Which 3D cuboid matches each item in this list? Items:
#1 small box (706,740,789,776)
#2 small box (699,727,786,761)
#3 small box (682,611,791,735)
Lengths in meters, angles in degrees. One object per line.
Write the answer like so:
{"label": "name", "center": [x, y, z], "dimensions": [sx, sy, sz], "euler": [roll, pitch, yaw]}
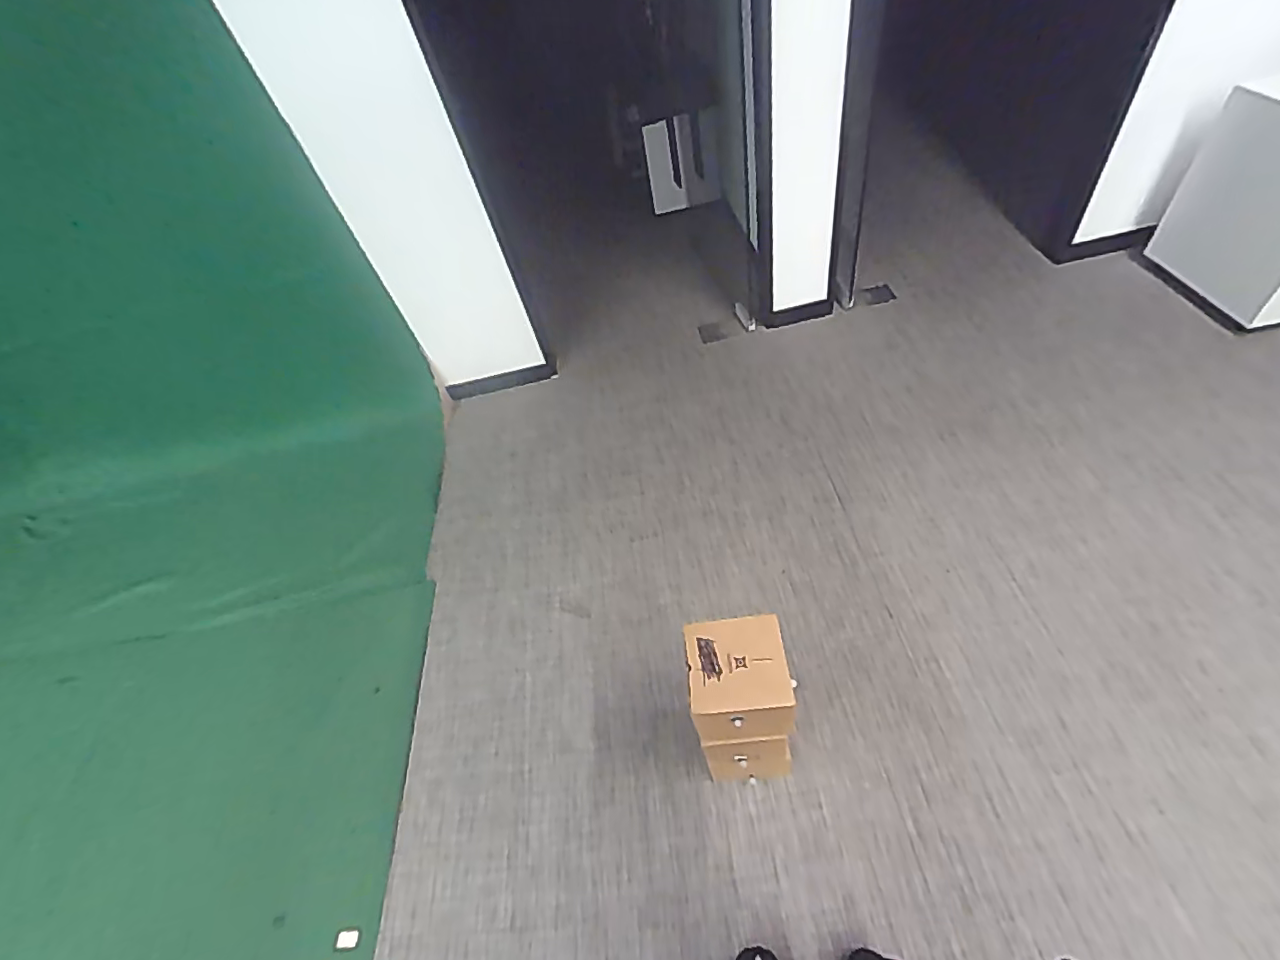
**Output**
{"label": "small box", "center": [0.241, 0.579, 1.259], "dimensions": [0.179, 0.176, 0.168], "euler": [-8, 49, 7]}
{"label": "small box", "center": [0.208, 0.472, 1.140], "dimensions": [0.168, 0.176, 0.179], "euler": [-10, 50, 8]}
{"label": "small box", "center": [0.183, 0.367, 1.016], "dimensions": [0.179, 0.176, 0.168], "euler": [-9, 49, 8]}
